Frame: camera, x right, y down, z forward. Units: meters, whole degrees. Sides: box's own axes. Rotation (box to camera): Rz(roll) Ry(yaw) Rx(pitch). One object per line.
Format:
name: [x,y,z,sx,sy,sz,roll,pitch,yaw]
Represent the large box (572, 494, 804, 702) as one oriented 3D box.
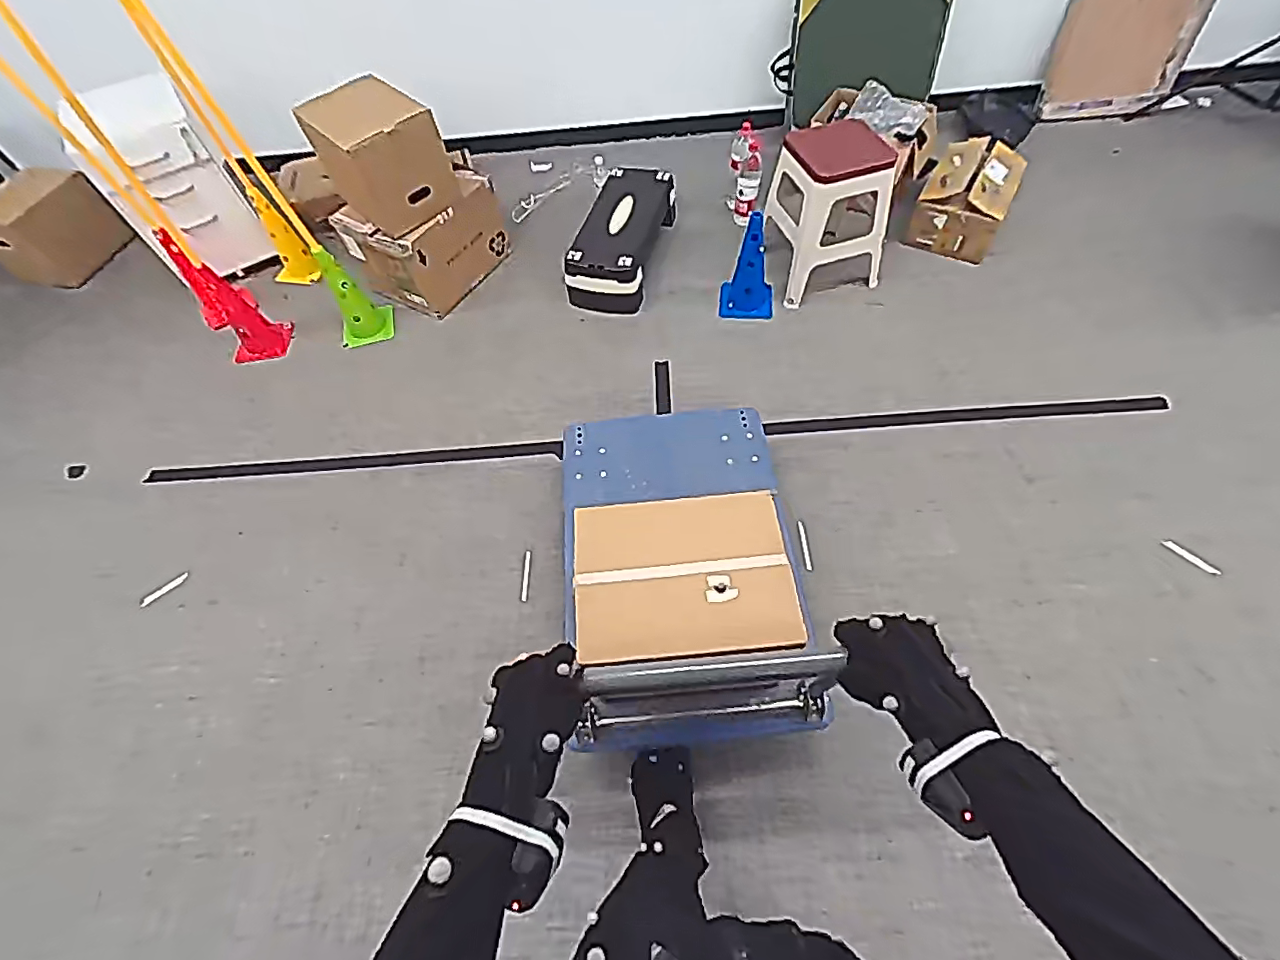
large box: [0.080,0.257,1.134,0.408,0.320,0.320,-5,58,0]
